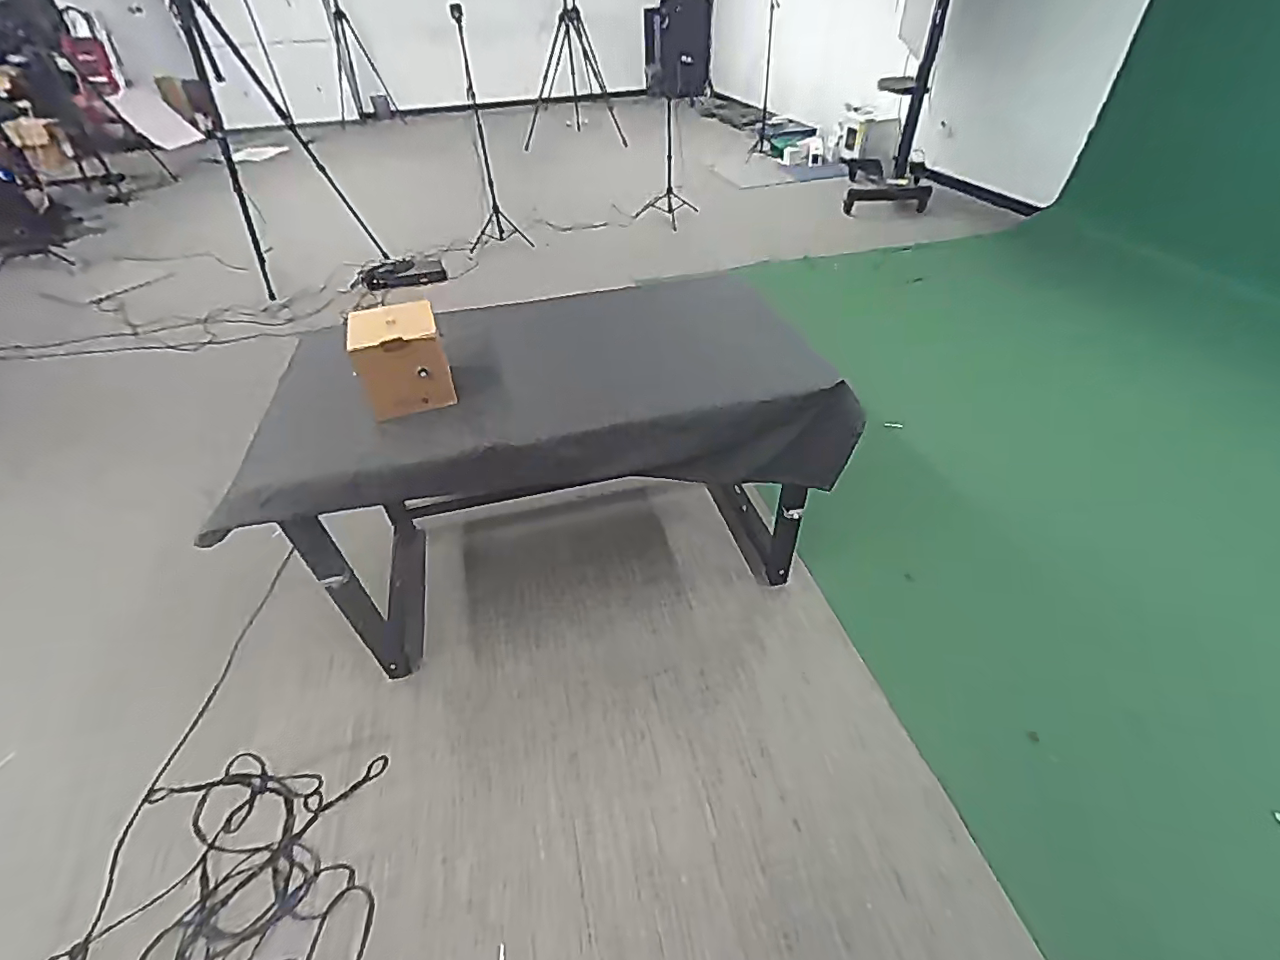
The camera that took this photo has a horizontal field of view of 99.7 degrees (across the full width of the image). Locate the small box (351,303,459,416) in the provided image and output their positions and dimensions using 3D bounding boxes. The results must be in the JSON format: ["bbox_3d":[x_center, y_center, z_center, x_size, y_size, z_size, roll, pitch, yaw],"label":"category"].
[{"bbox_3d":[-0.490,-0.249,1.140,0.168,0.176,0.179,-15,42,-15],"label":"small box"}]
